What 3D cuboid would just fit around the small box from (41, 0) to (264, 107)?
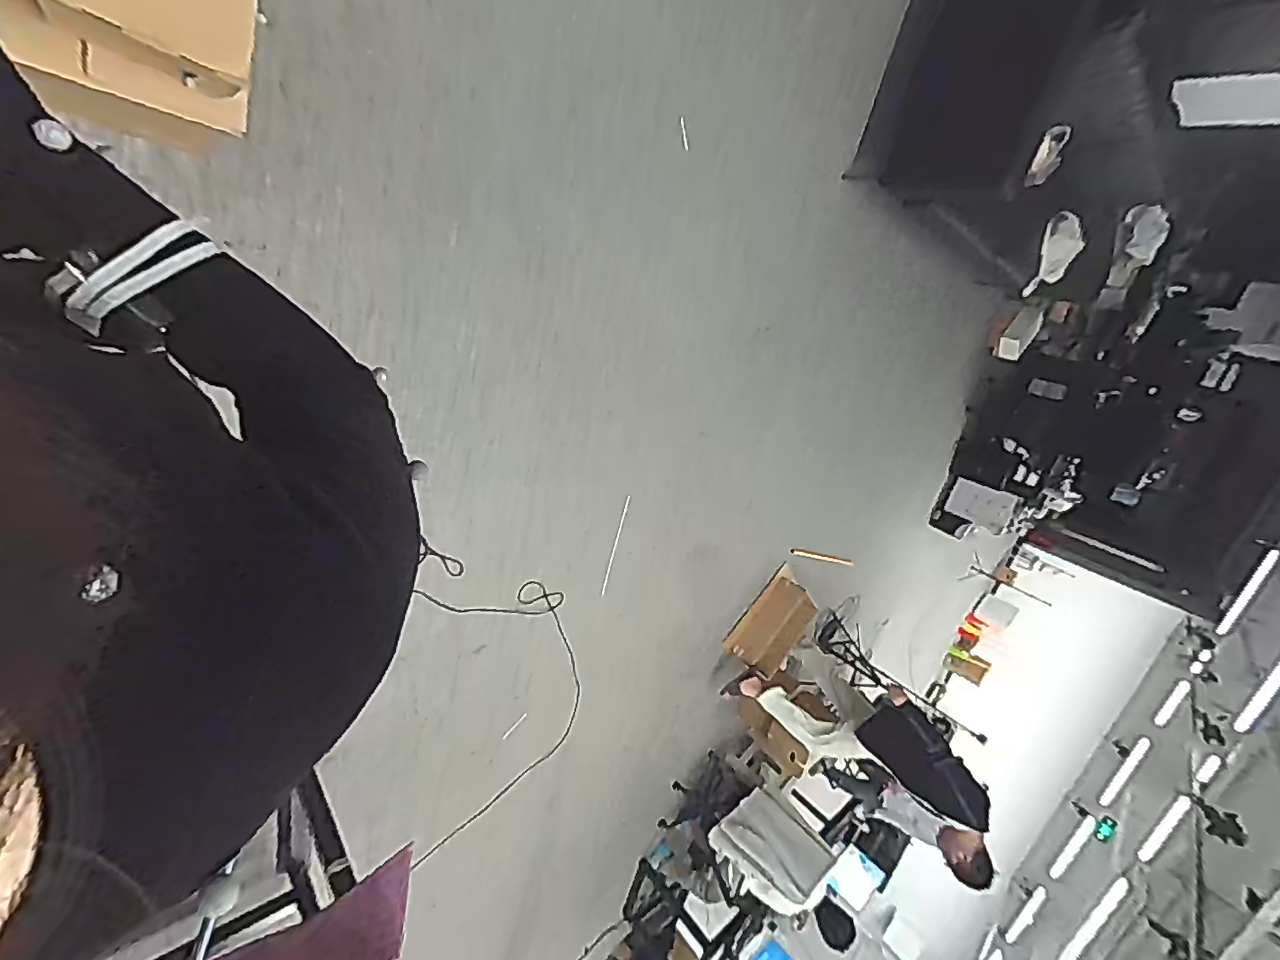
[{"bbox_3d":[-0.524,-0.544,0.592,0.168,0.176,0.179,3,109,-45],"label":"small box"}]
